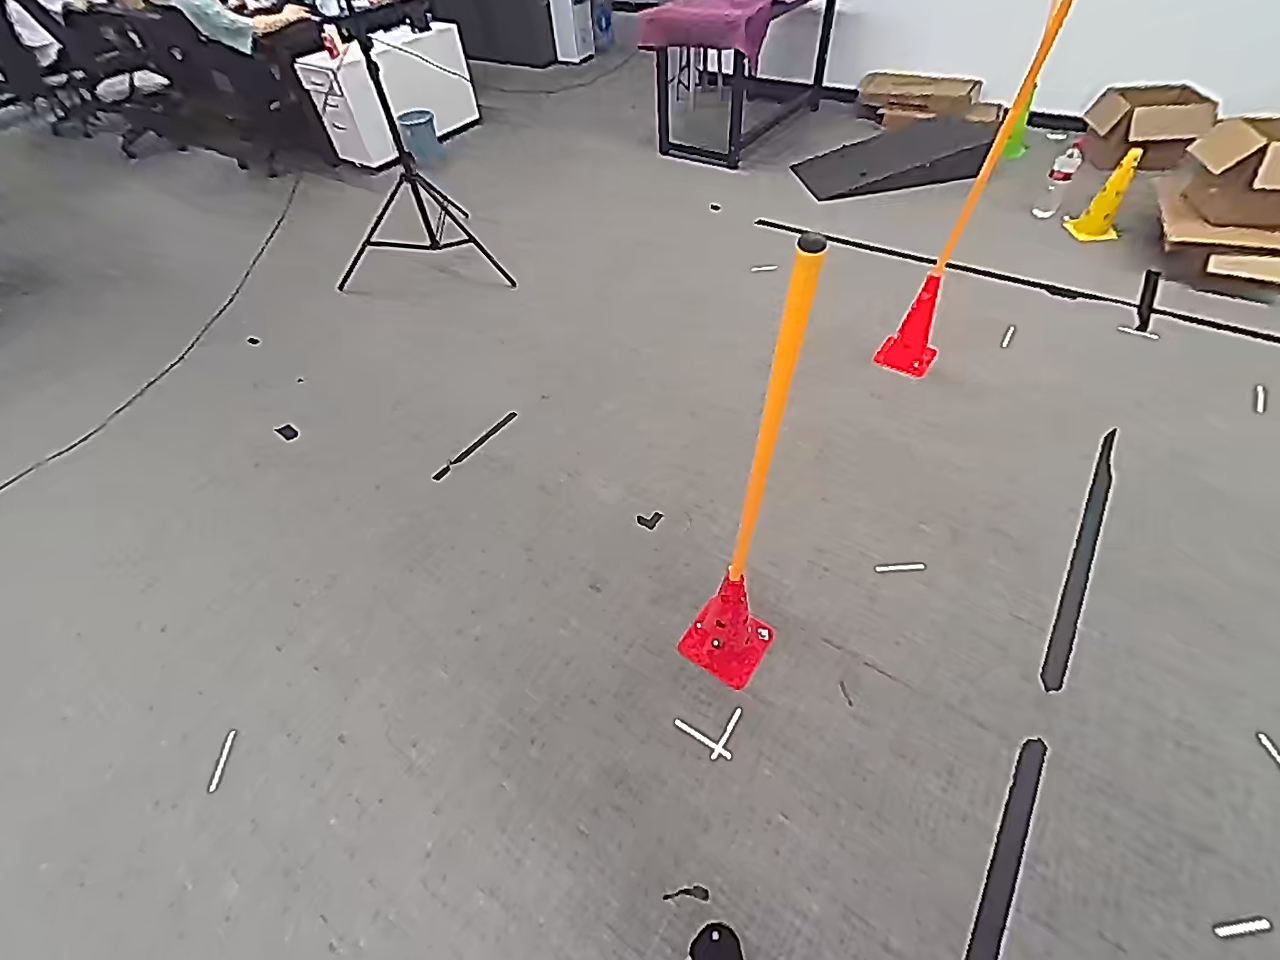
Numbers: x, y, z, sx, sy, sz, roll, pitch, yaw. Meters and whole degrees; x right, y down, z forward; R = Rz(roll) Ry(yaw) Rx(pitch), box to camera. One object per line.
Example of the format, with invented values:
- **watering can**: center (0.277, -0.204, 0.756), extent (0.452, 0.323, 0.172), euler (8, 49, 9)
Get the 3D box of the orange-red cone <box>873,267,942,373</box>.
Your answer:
- **orange-red cone**: center (1.031, -0.614, 1.995), extent (0.198, 0.360, 0.199), euler (30, 58, 25)
